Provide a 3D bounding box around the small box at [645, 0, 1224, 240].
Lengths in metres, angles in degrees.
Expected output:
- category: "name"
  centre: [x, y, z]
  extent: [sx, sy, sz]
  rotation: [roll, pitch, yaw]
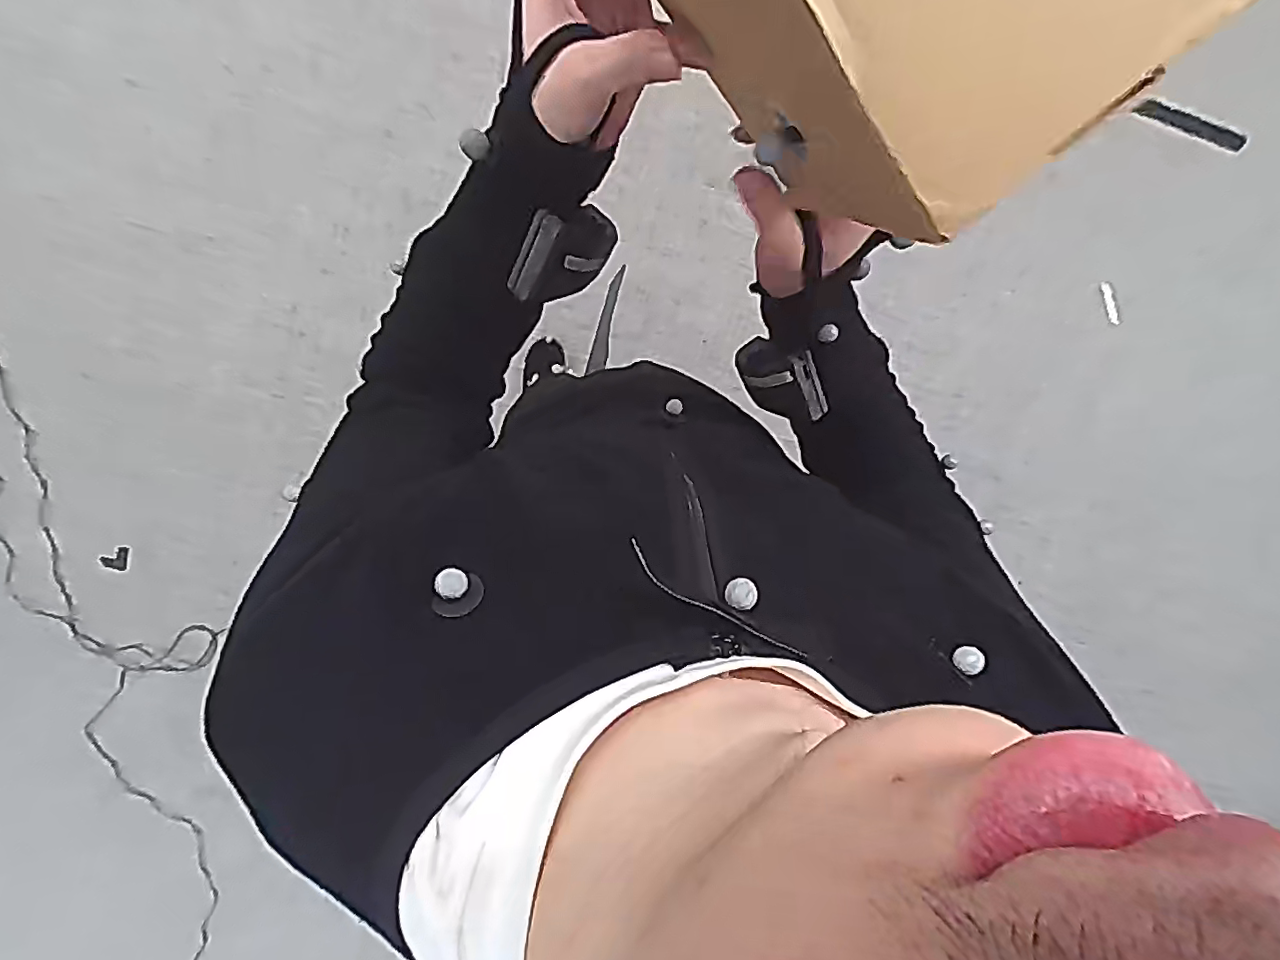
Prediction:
- category: "small box"
  centre: [0.087, -0.215, 0.176]
  extent: [0.168, 0.176, 0.179]
  rotation: [-40, 113, 20]
